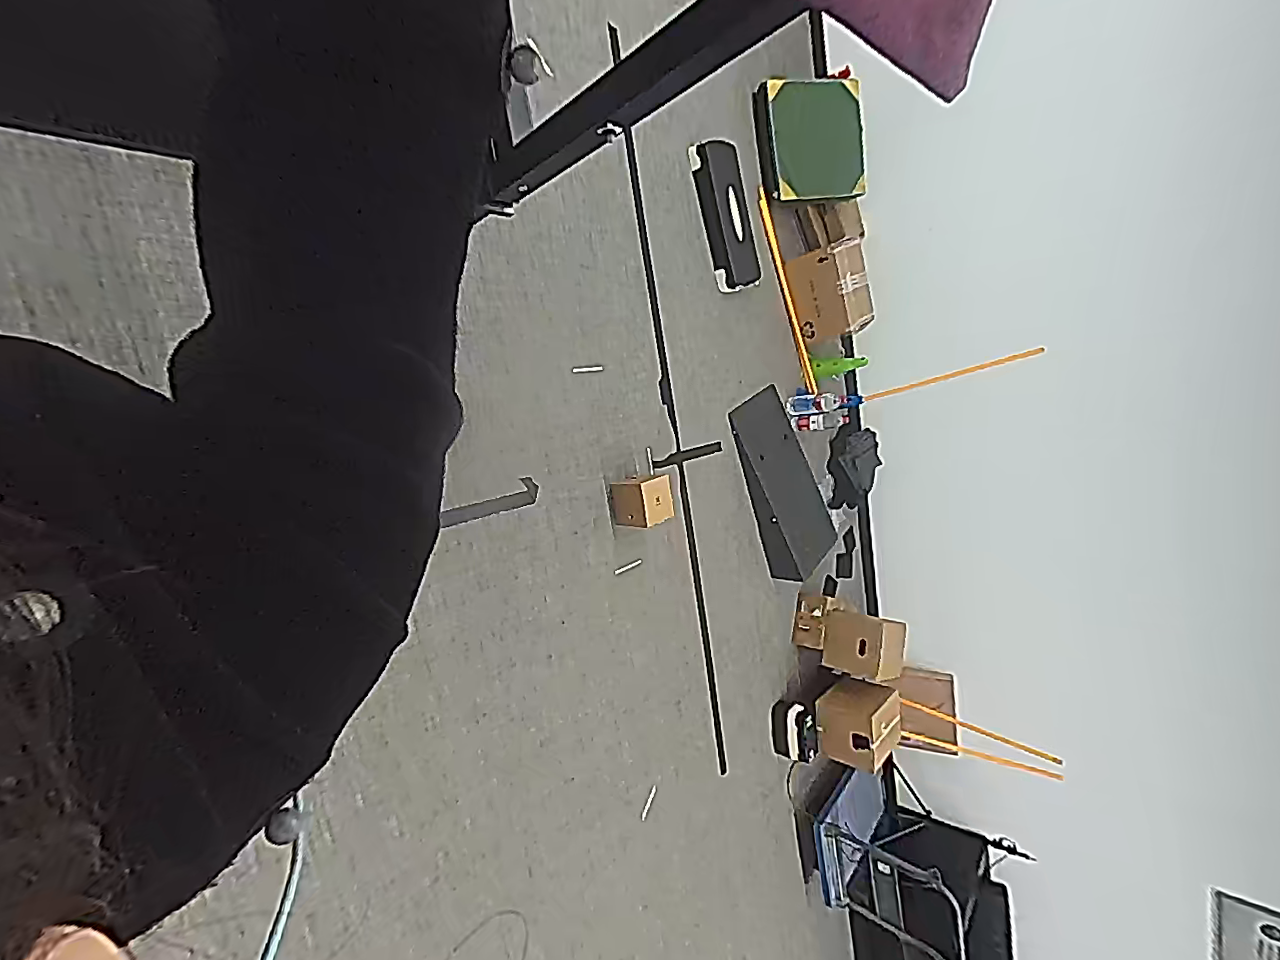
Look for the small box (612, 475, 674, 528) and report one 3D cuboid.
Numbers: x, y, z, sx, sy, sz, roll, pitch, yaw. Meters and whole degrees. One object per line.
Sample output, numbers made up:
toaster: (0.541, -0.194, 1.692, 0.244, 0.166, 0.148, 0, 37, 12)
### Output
small box: (0.011, 0.081, 2.125, 0.168, 0.176, 0.179, -18, 103, -45)
